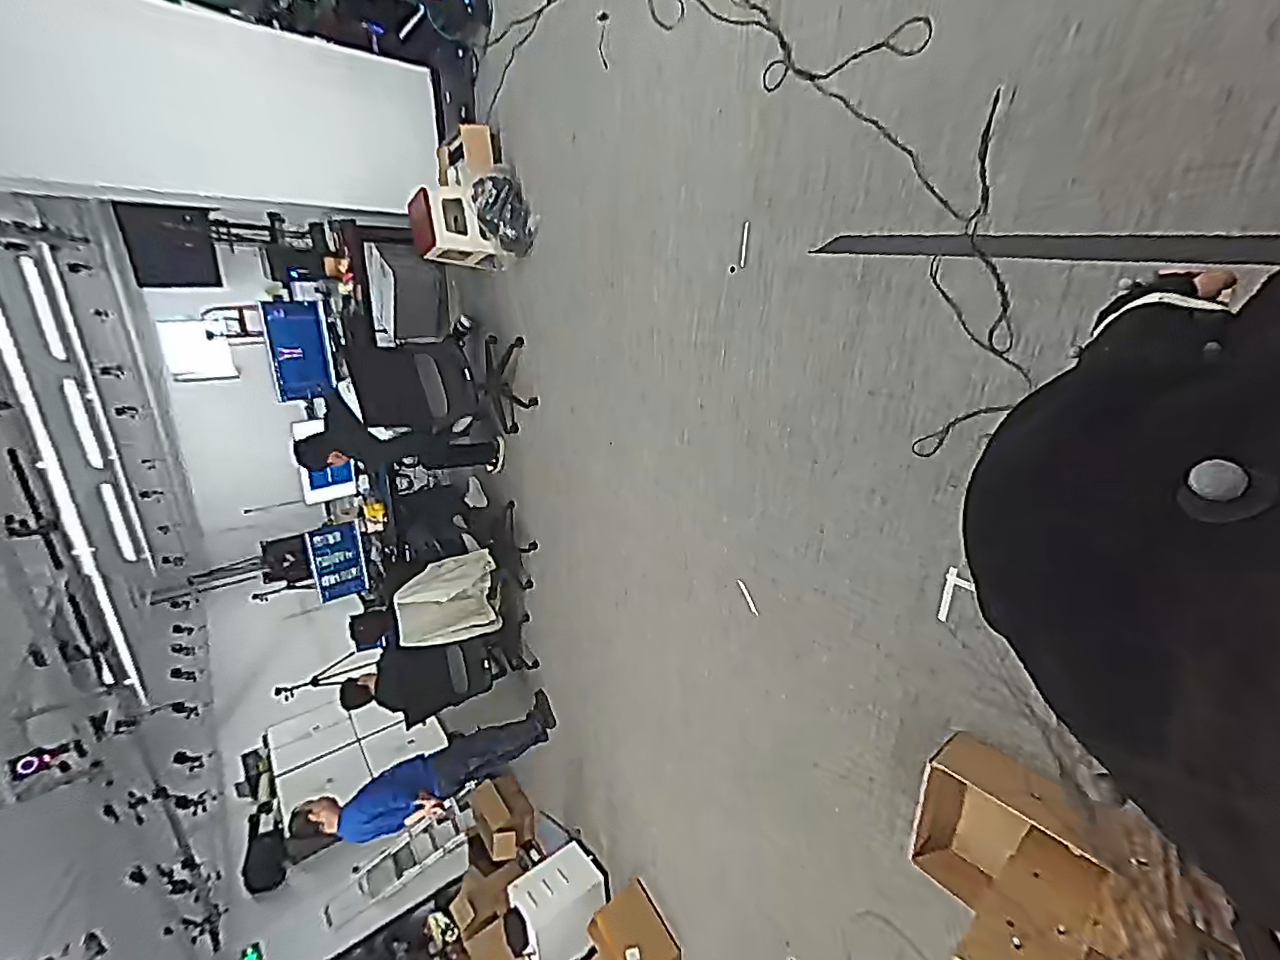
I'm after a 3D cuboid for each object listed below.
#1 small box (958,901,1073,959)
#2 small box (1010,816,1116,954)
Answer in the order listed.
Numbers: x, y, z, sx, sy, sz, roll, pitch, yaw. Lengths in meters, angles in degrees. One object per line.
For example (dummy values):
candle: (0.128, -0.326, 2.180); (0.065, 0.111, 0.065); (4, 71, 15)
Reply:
small box: (0.795, 1.068, 1.149); (0.168, 0.176, 0.179); (11, 112, 50)
small box: (1.051, 0.994, 1.344); (0.168, 0.176, 0.179); (14, 113, 50)
